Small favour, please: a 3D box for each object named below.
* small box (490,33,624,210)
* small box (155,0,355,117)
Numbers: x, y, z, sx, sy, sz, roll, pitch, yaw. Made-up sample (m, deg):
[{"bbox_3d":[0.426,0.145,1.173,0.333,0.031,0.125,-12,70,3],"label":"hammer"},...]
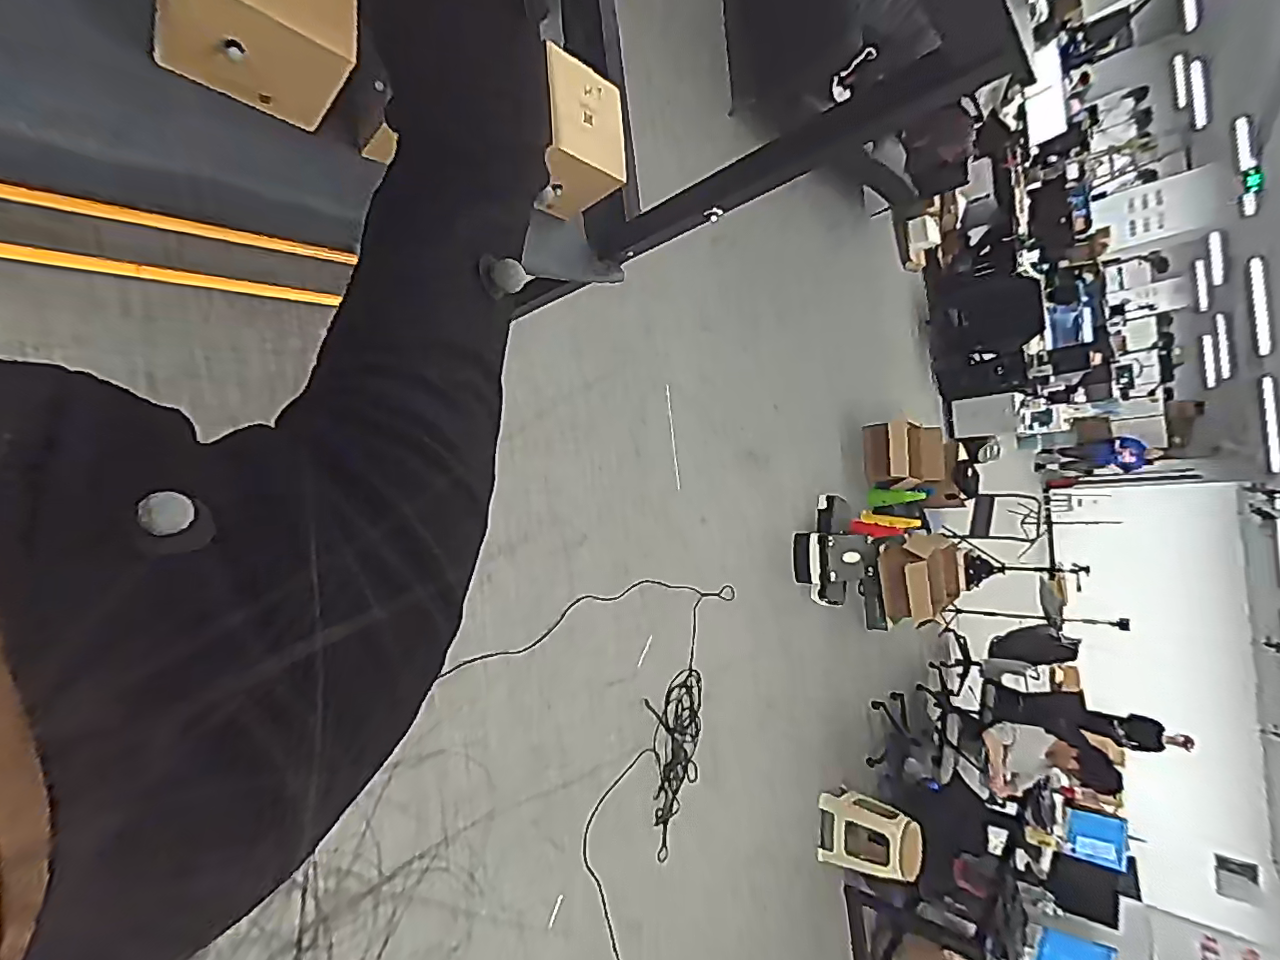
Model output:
[{"bbox_3d":[-0.148,-0.612,0.956,0.168,0.176,0.179,-2,87,-47],"label":"small box"},{"bbox_3d":[-0.450,-0.580,0.635,0.168,0.176,0.179,3,84,-47],"label":"small box"}]
